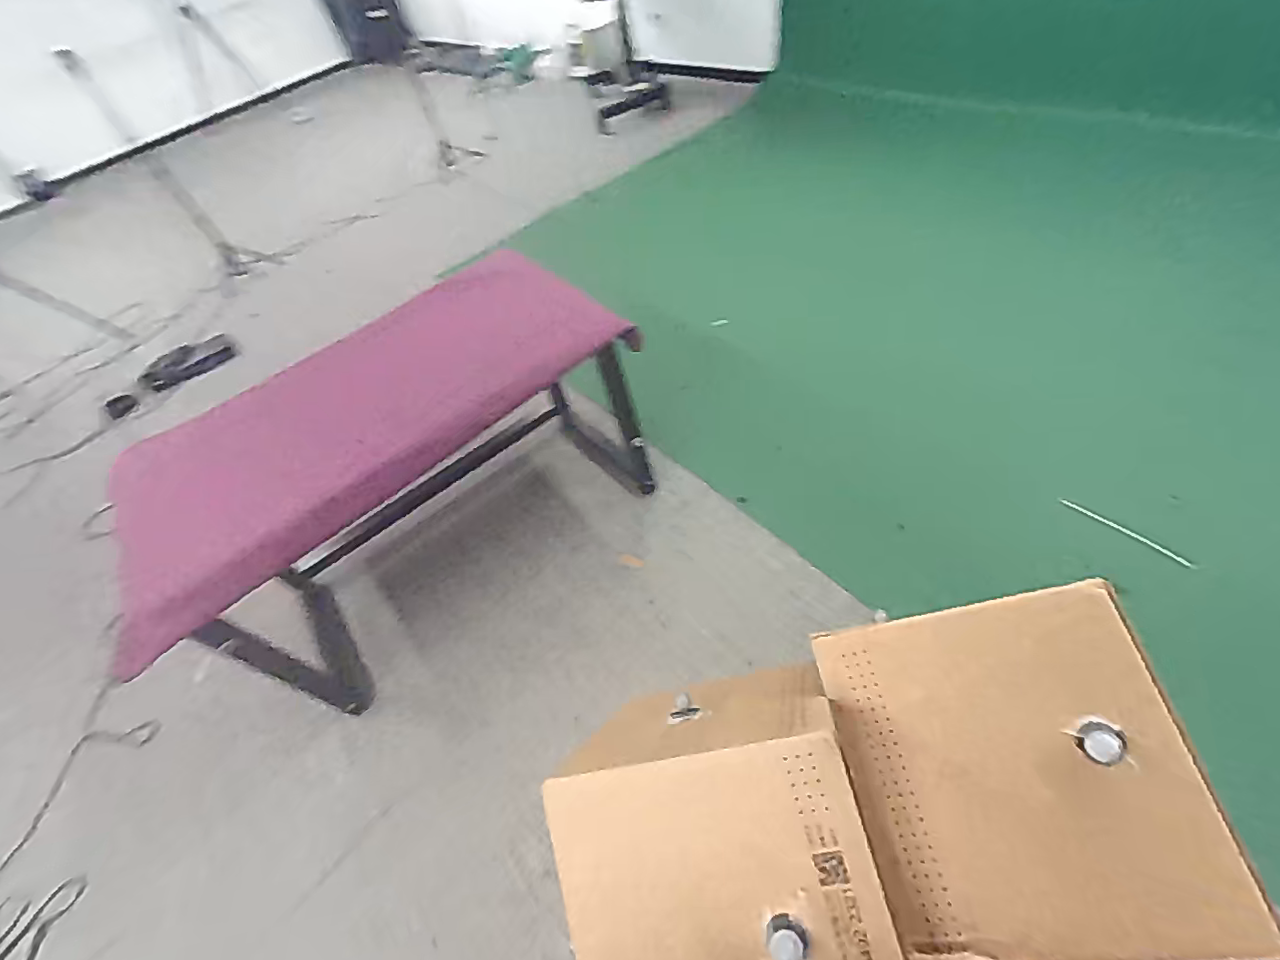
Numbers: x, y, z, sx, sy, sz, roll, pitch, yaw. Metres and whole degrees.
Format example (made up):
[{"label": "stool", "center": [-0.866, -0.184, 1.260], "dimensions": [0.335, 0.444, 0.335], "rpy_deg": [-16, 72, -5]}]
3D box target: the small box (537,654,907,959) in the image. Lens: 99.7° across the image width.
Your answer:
[{"label": "small box", "center": [0.060, 0.224, 0.356], "dimensions": [0.176, 0.179, 0.168], "rpy_deg": [-18, 78, 12]}]
